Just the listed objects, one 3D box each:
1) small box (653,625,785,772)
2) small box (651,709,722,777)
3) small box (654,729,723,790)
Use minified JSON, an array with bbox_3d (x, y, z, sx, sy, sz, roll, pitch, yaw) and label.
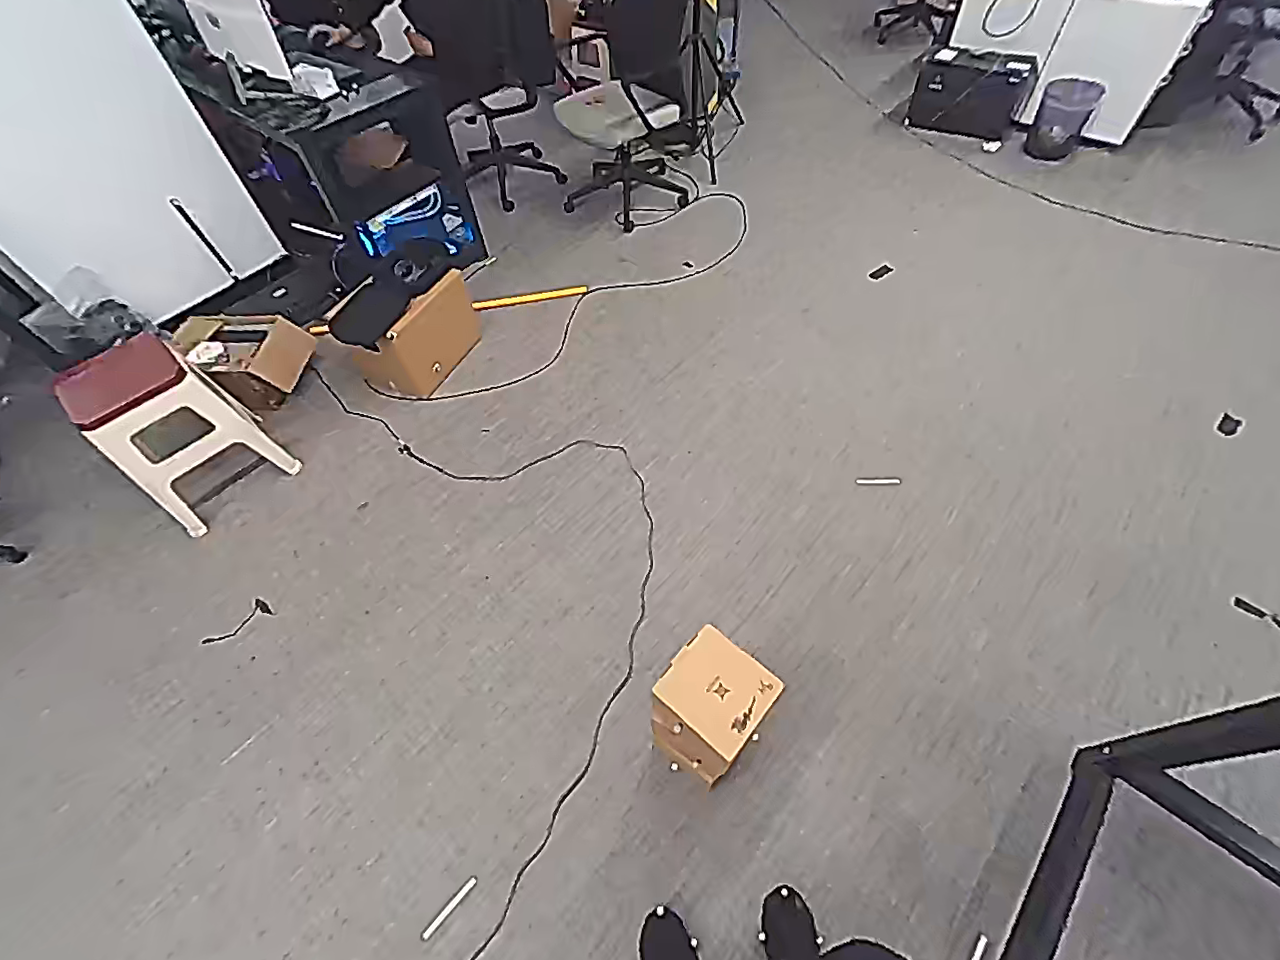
[{"bbox_3d":[0.141,0.413,1.011,0.179,0.176,0.168,35,64,25],"label":"small box"},{"bbox_3d":[0.141,0.500,1.152,0.168,0.176,0.179,29,60,21],"label":"small box"},{"bbox_3d":[0.148,0.599,1.279,0.168,0.176,0.179,32,63,23],"label":"small box"}]
